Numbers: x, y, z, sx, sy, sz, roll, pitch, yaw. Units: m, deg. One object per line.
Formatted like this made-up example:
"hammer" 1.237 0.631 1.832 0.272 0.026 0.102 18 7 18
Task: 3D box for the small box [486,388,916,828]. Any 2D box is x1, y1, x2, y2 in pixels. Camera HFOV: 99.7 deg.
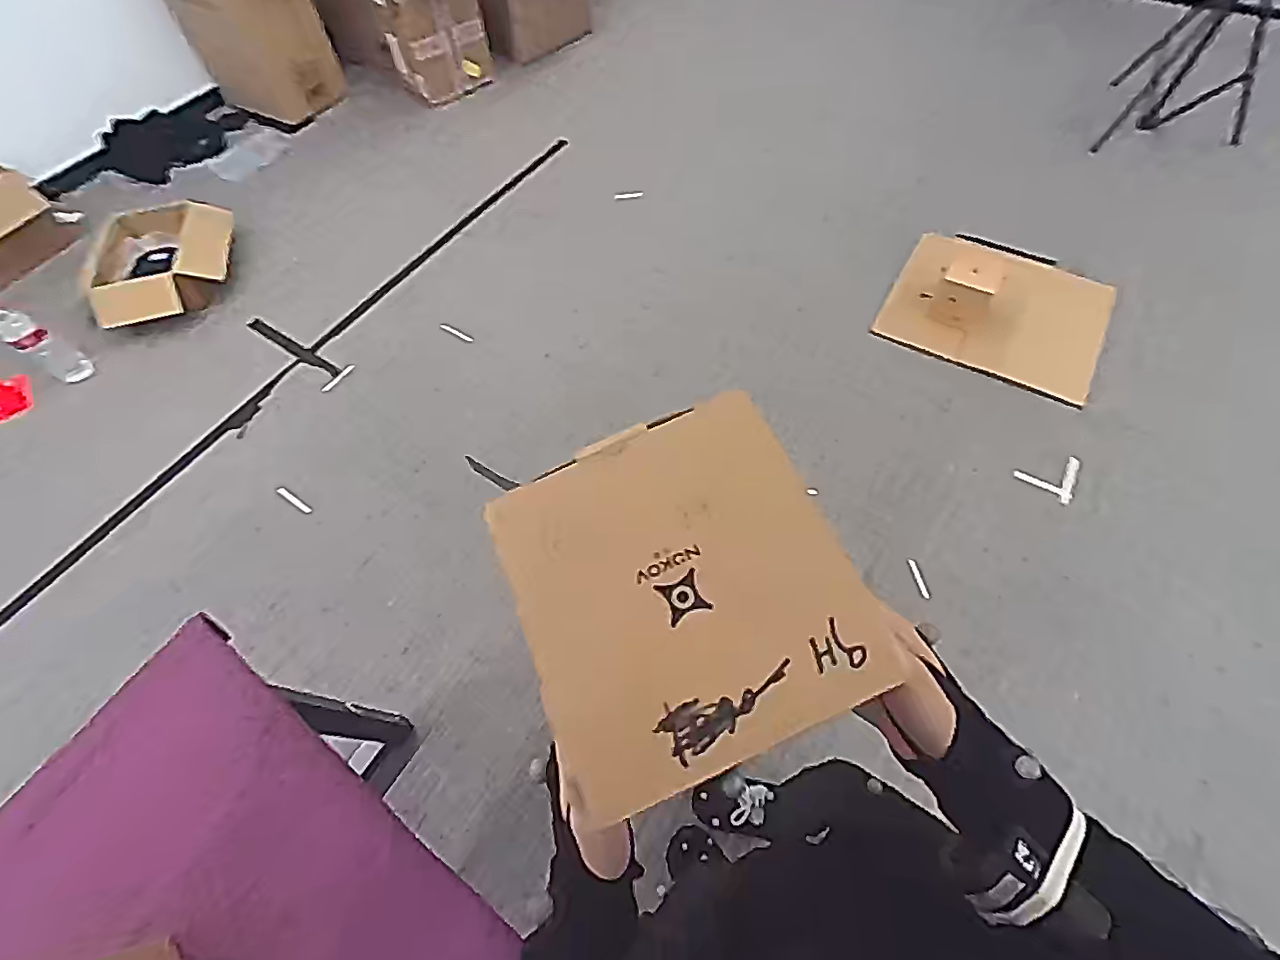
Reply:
"small box" 0.030 0.079 0.347 0.168 0.176 0.179 -26 69 0

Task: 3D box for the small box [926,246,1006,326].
"small box" 1.112 -0.663 1.858 0.168 0.176 0.179 25 66 16
